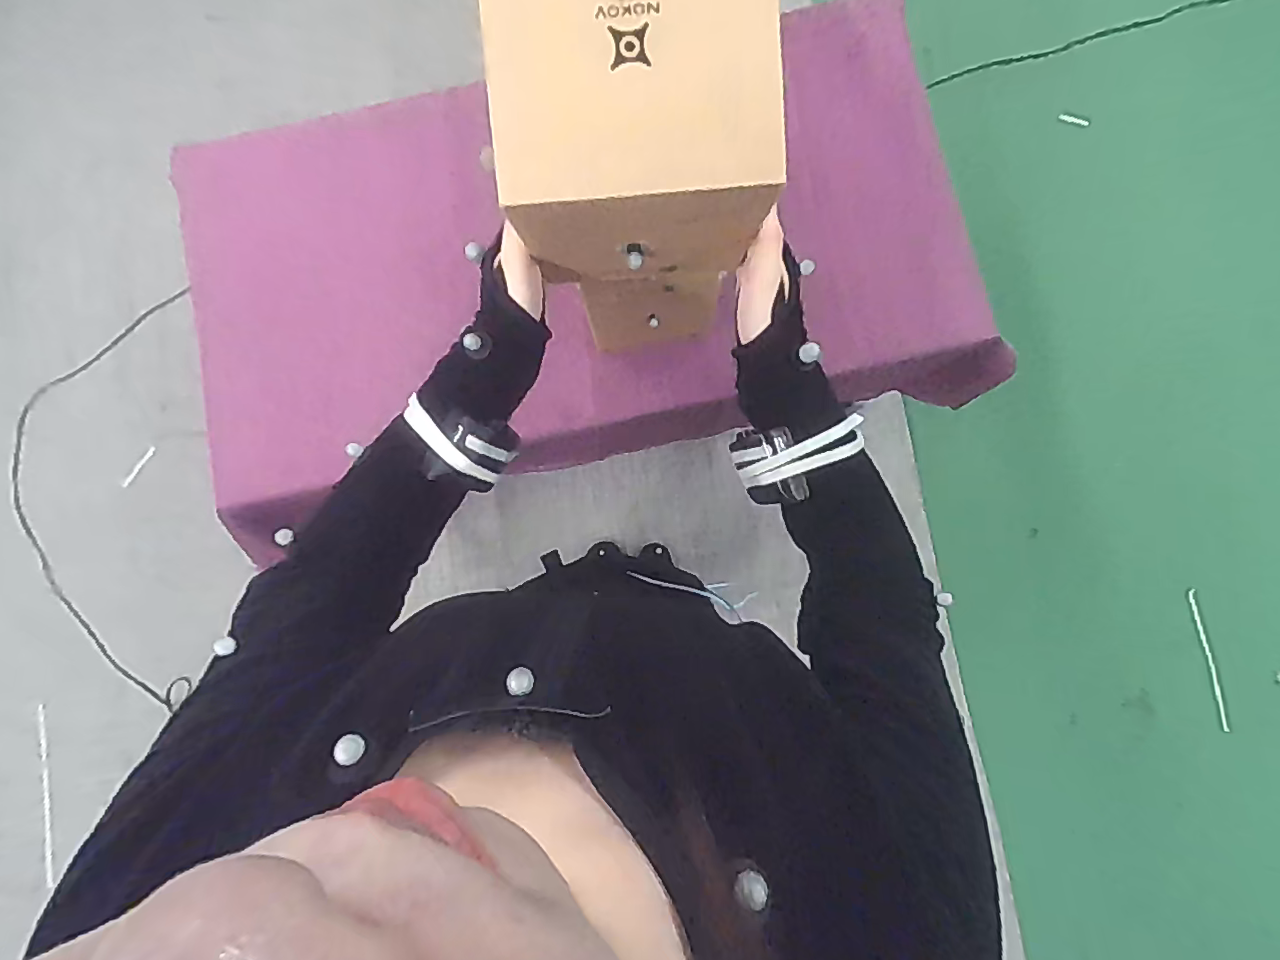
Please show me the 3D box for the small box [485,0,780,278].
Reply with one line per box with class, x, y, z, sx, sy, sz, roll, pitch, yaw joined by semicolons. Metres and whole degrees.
small box;-0.004;-0.249;0.381;0.168;0.176;0.179;-3;96;0
